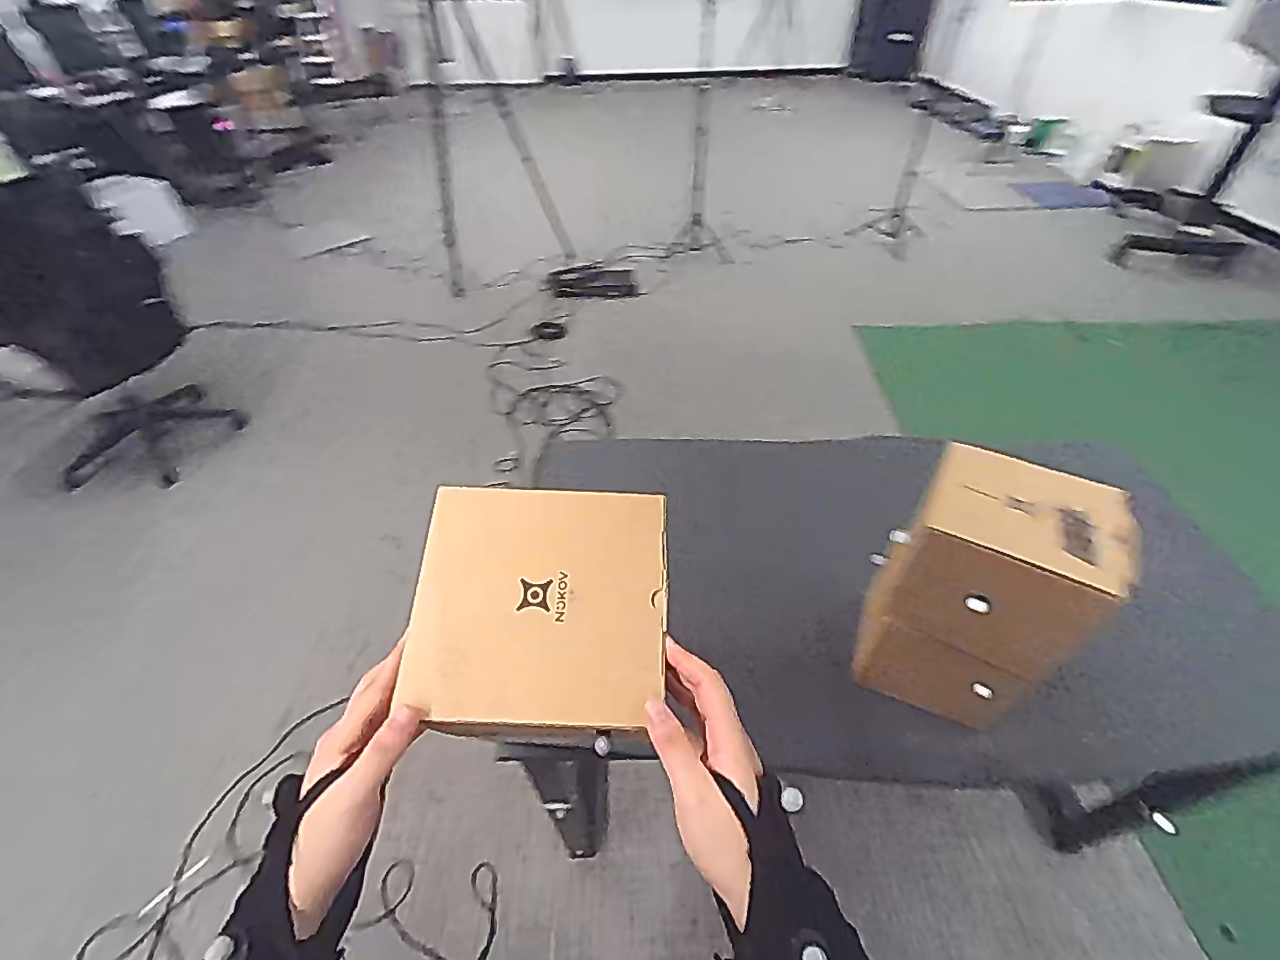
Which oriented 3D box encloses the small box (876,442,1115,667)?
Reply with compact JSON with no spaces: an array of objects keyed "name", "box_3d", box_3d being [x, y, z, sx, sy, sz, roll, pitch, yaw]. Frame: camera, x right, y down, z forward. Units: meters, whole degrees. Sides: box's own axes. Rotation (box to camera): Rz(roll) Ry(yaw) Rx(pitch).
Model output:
[{"name":"small box","box_3d":[0.404,0.089,0.632,0.179,0.176,0.168,22,49,24]}]
